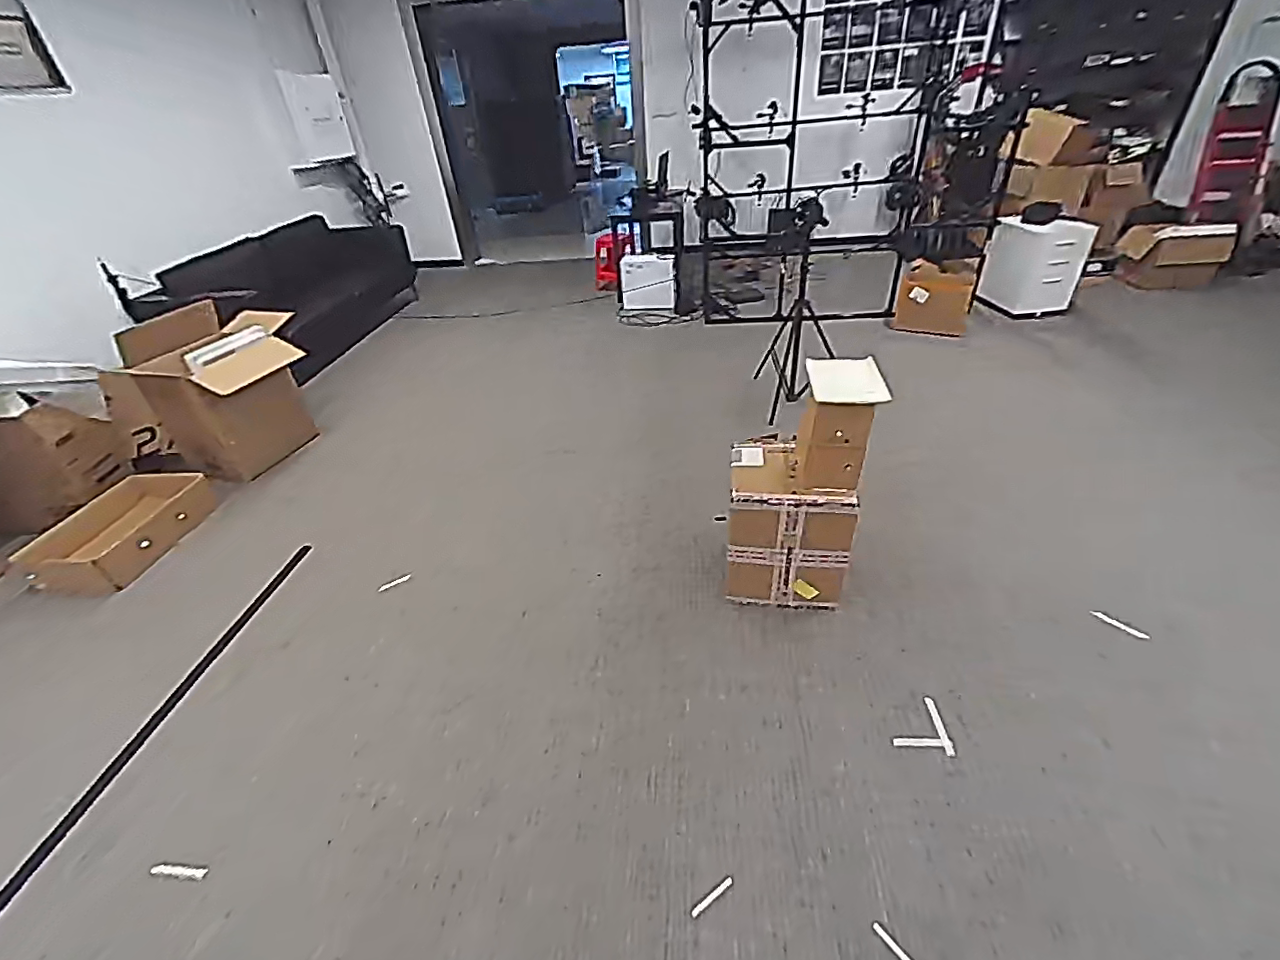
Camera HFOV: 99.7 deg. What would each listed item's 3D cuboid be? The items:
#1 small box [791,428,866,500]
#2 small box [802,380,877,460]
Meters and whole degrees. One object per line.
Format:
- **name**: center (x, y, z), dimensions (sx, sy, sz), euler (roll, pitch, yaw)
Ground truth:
- **small box**: center (0.586, -0.049, 1.701), dimensions (0.179, 0.176, 0.168), euler (0, 37, 5)
- **small box**: center (0.584, -0.180, 1.603), dimensions (0.168, 0.176, 0.179), euler (3, 38, 7)
